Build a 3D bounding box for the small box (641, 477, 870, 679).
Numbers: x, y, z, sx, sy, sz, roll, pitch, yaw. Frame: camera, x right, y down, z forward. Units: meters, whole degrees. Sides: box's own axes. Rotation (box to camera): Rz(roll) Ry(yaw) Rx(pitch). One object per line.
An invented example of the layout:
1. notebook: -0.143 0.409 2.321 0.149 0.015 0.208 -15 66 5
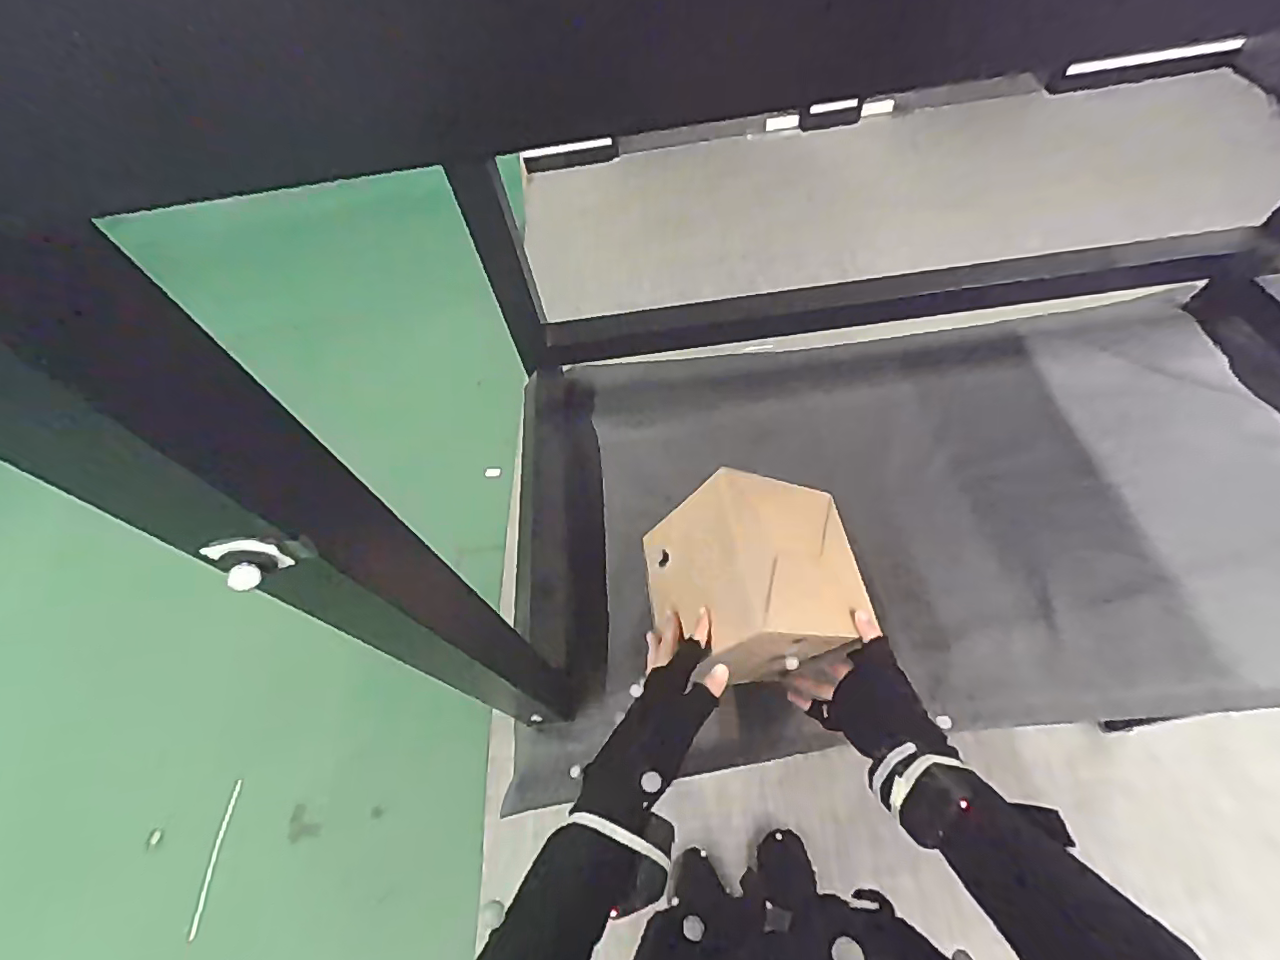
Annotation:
1. small box: 0.121 0.111 0.601 0.168 0.176 0.179 14 52 -30
